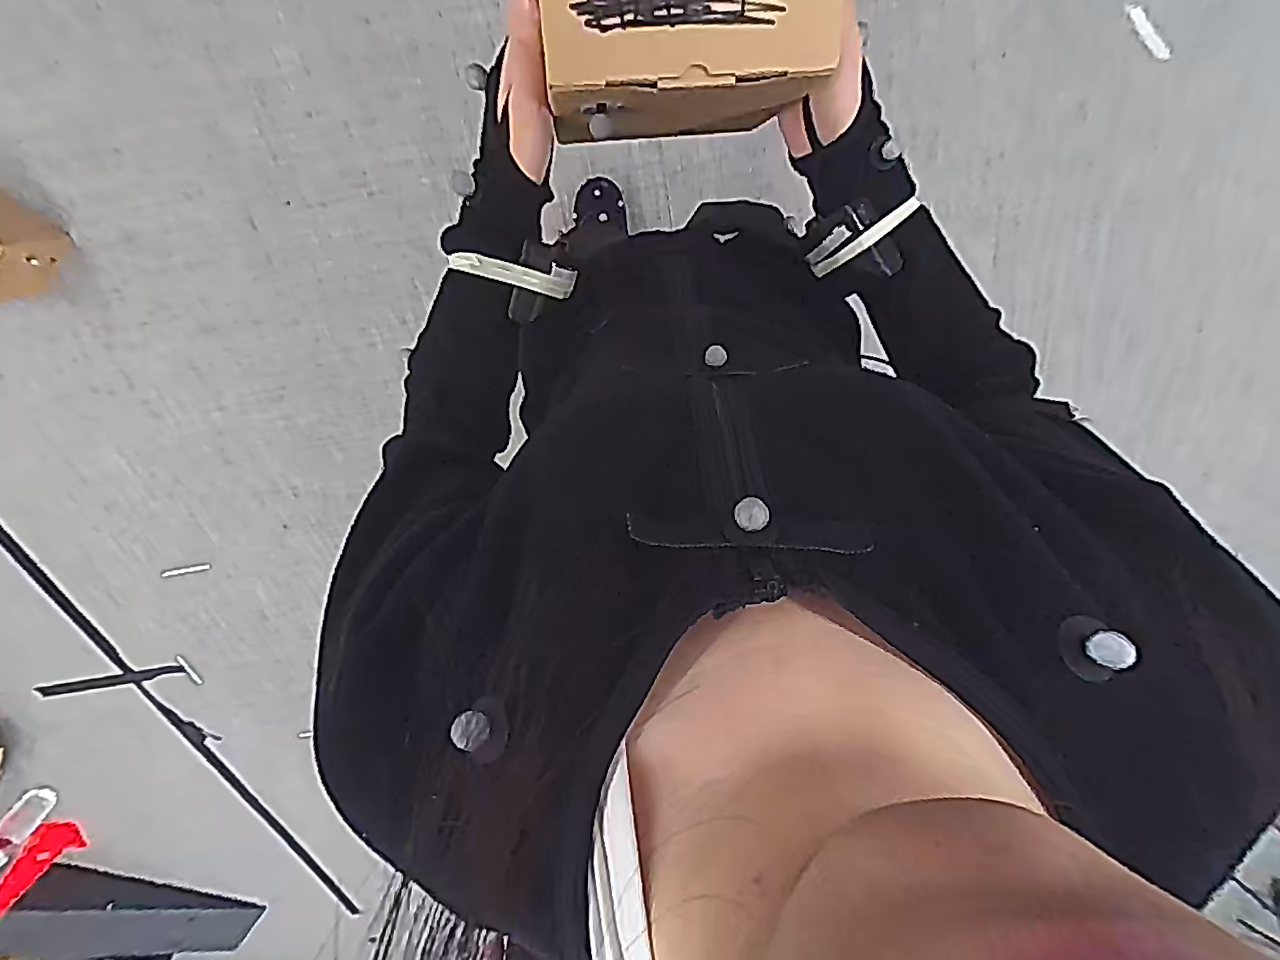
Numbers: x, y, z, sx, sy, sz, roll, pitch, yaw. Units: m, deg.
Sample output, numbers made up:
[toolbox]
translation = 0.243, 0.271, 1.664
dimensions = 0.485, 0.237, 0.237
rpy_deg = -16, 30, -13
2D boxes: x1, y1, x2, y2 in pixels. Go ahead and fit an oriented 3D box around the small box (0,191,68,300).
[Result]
[small box]
translation = -1.397, -0.506, 1.147
dimensions = 0.179, 0.176, 0.168
rpy_deg = 38, 109, -21
